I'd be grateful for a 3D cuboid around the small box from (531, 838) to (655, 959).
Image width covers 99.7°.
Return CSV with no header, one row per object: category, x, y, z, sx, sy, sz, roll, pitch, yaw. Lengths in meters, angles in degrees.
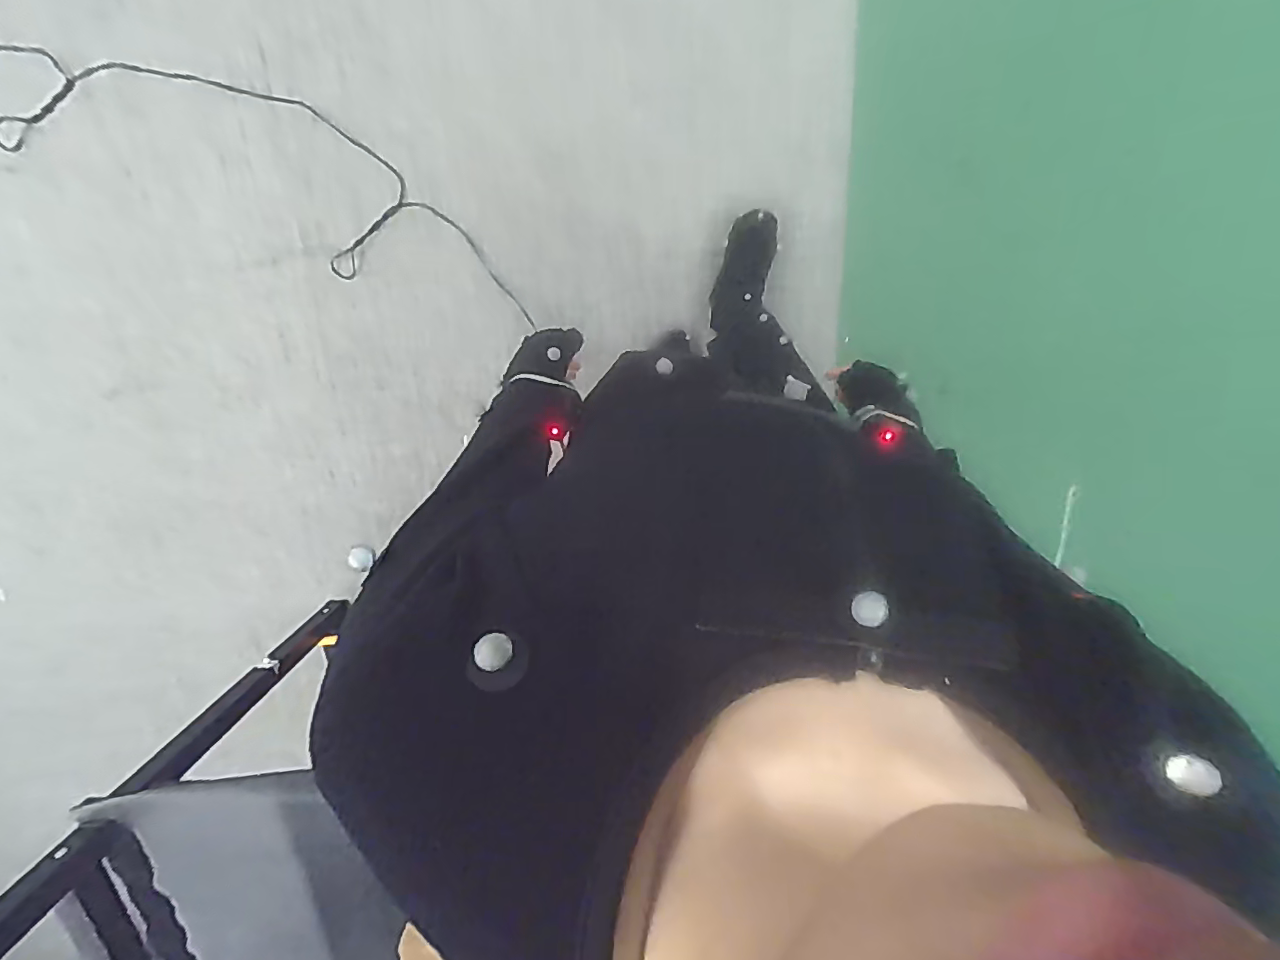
small box,-0.064,0.716,0.867,0.168,0.176,0.179,-5,107,3
